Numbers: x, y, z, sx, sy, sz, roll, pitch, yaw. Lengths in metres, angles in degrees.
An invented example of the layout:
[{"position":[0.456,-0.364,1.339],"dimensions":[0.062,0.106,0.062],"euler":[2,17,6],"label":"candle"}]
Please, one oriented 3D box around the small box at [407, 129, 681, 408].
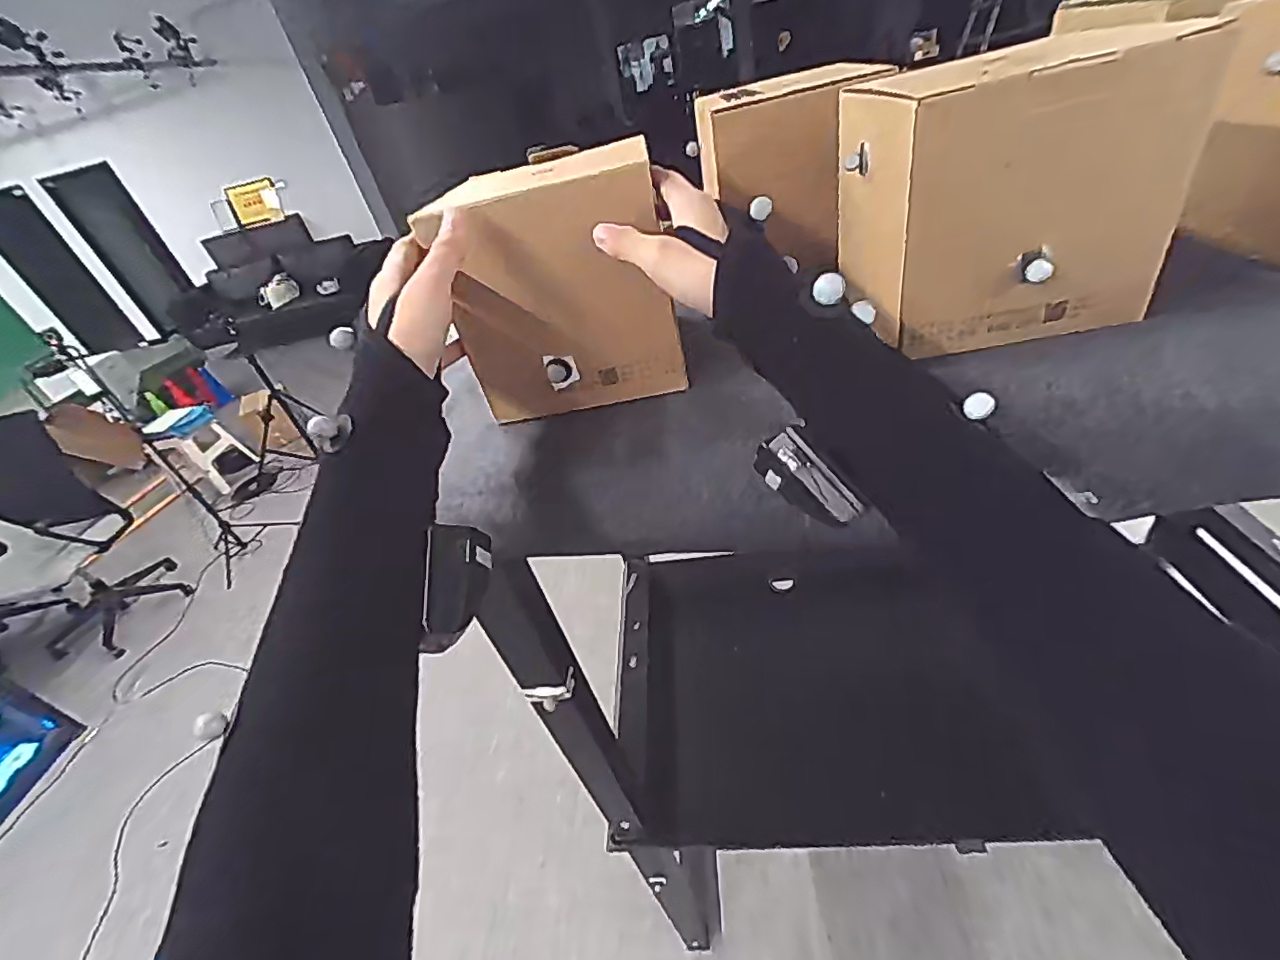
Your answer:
[{"position":[-0.062,-0.183,0.465],"dimensions":[0.168,0.176,0.179],"euler":[-10,35,7],"label":"small box"}]
